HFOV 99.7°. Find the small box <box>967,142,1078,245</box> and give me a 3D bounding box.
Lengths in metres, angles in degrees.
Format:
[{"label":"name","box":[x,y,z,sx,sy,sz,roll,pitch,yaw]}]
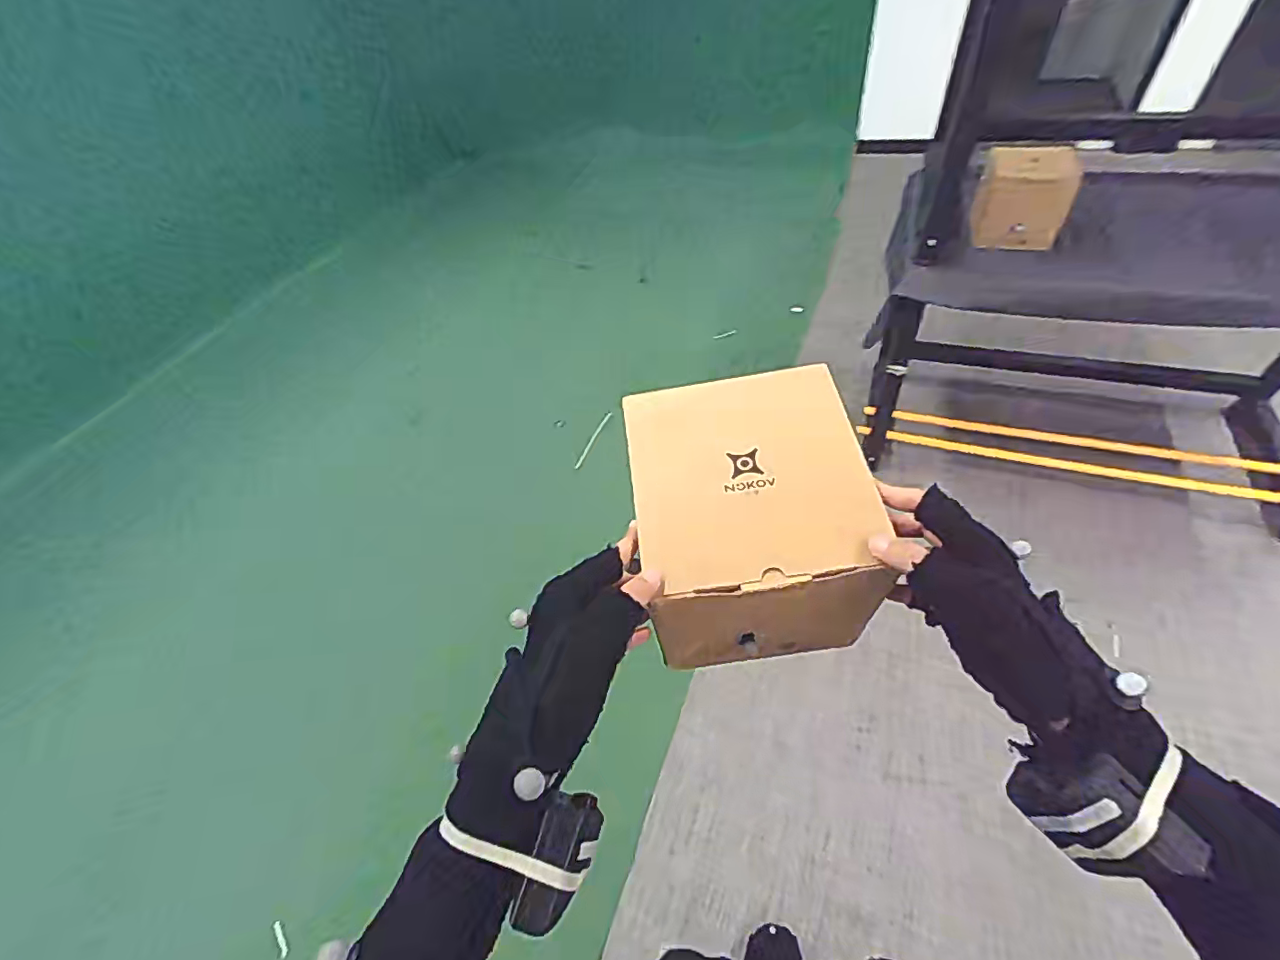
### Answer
[{"label":"small box","box":[0.902,-0.687,1.296,0.168,0.176,0.179,10,52,18]}]
